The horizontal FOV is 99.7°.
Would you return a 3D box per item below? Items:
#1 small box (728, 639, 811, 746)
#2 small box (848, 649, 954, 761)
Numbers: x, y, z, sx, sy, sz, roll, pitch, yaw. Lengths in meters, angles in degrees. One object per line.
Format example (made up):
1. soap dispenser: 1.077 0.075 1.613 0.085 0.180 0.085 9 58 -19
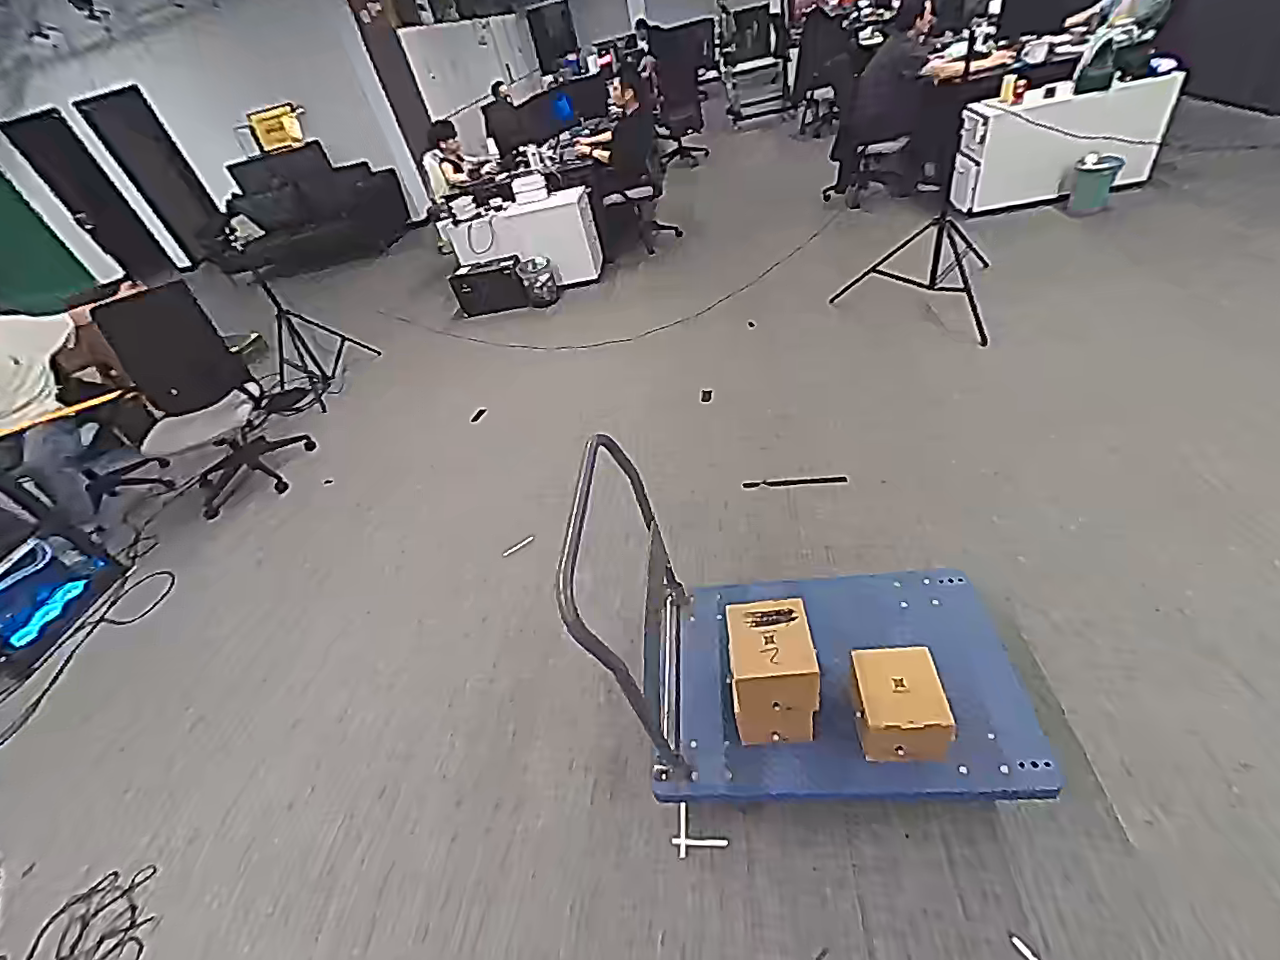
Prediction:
1. small box: 0.303 0.502 1.276 0.168 0.176 0.179 -8 41 10
2. small box: 0.565 0.498 1.198 0.168 0.176 0.179 -7 41 11
